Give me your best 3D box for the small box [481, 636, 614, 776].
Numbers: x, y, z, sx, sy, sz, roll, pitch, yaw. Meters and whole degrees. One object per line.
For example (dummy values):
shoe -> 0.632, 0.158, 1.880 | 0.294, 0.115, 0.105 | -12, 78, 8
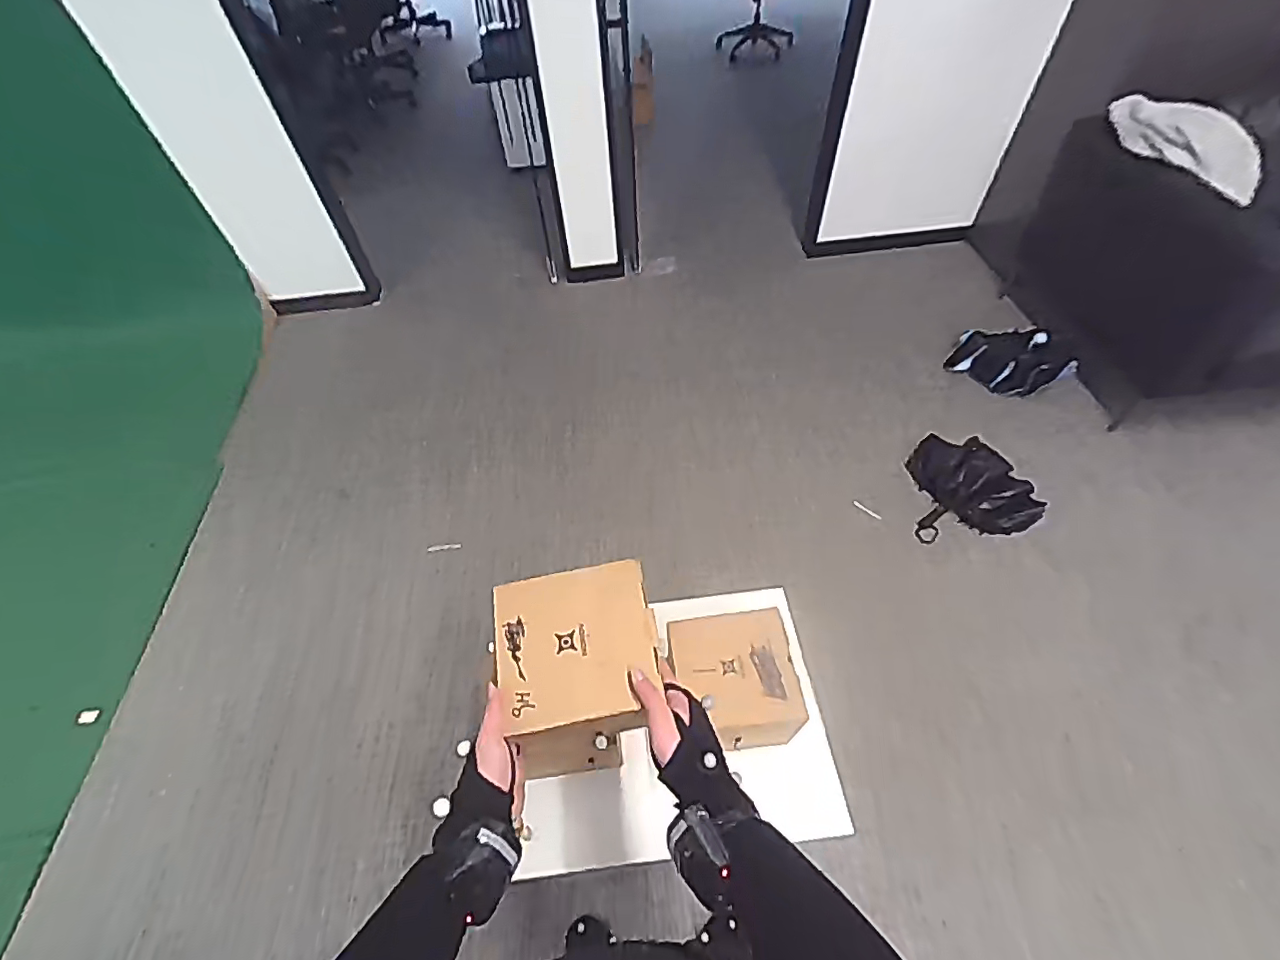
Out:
small box -> -0.133, 0.337, 0.822 | 0.179, 0.176, 0.168 | -7, 52, -5

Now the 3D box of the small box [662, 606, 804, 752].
small box -> 0.131, 0.312, 0.838 | 0.179, 0.176, 0.168 | -5, 53, -3

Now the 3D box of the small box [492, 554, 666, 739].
small box -> -0.071, 0.205, 0.651 | 0.179, 0.176, 0.168 | -8, 60, -4
